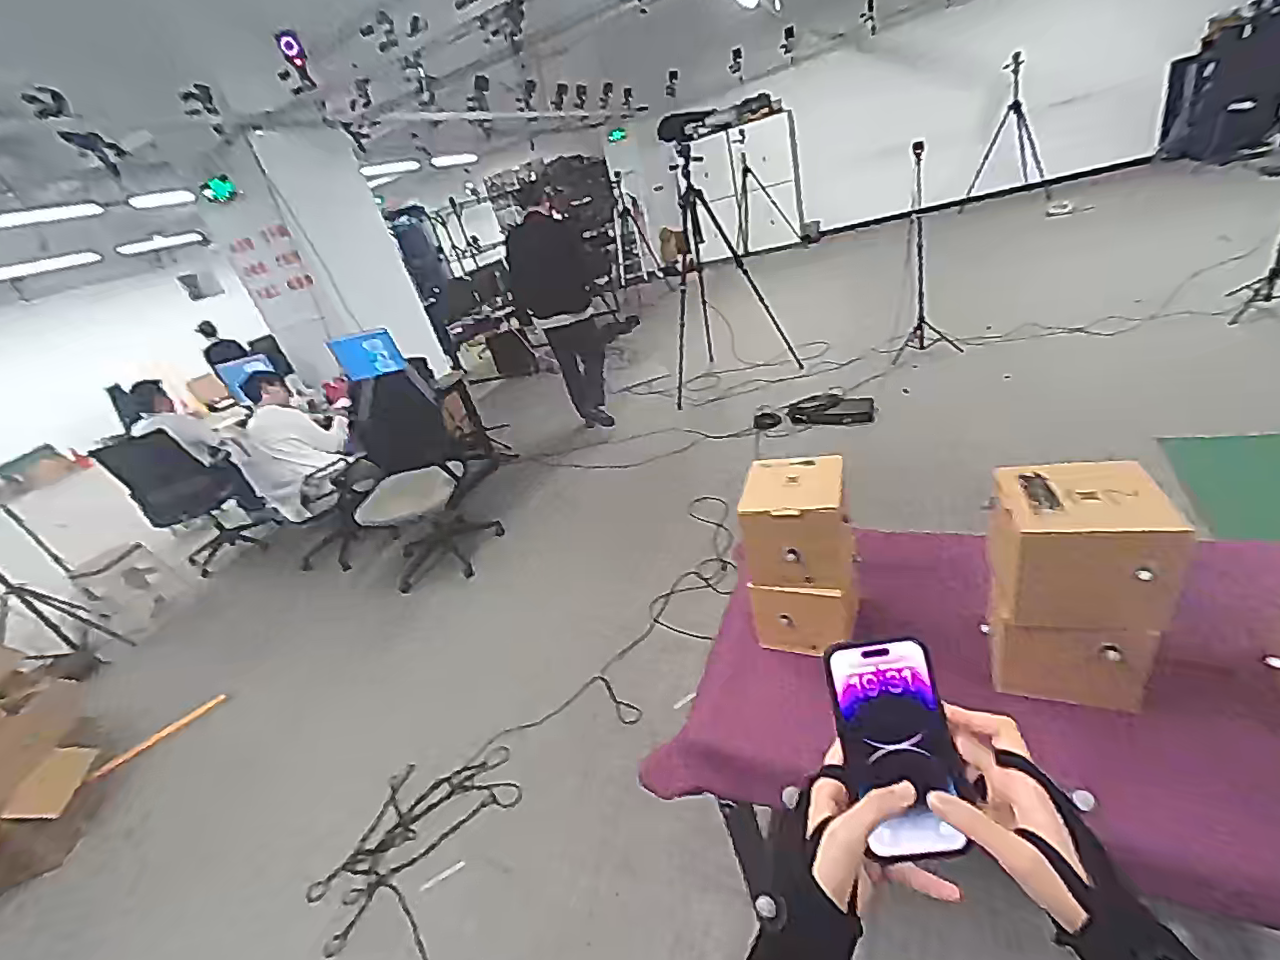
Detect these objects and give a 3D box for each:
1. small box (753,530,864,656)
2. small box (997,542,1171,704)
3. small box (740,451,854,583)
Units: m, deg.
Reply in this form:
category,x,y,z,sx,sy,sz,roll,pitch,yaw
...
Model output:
category,x,y,z,sx,sy,sz,roll,pitch,yaw
small box,0.332,0.211,1.041,0.168,0.176,0.179,-1,32,30
small box,0.663,0.216,0.833,0.179,0.176,0.168,-1,32,30
small box,0.290,0.068,0.971,0.168,0.176,0.179,-3,32,25
